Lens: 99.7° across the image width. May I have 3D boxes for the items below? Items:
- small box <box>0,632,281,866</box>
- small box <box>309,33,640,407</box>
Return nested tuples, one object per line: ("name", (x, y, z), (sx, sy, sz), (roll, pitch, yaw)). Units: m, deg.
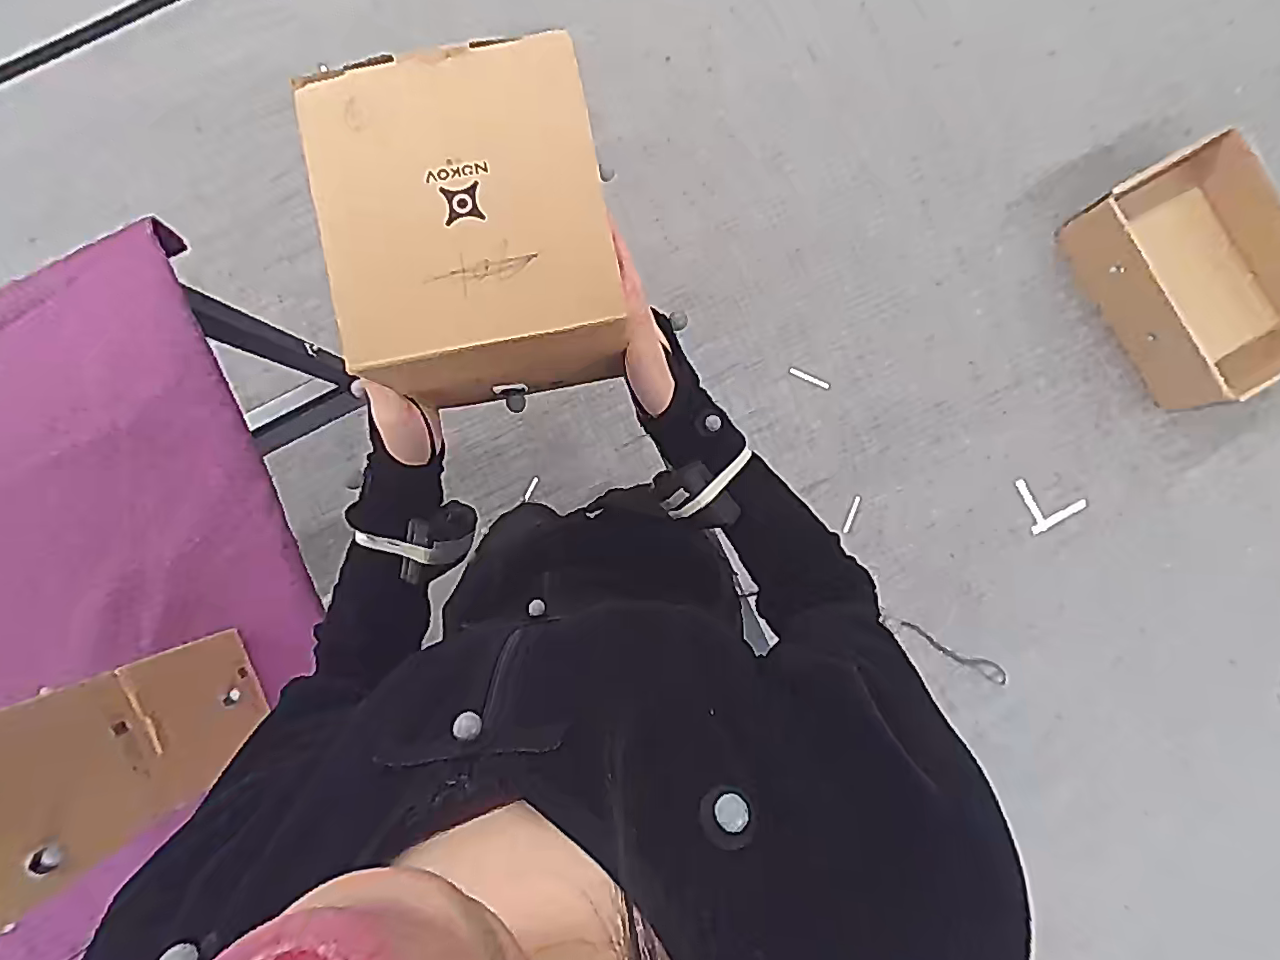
("small box", (-0.598, 0.311, 0.664), (0.179, 0.176, 0.168), (-24, 90, -1))
("small box", (-0.099, -0.163, 0.395), (0.168, 0.176, 0.179), (-12, 90, -2))
